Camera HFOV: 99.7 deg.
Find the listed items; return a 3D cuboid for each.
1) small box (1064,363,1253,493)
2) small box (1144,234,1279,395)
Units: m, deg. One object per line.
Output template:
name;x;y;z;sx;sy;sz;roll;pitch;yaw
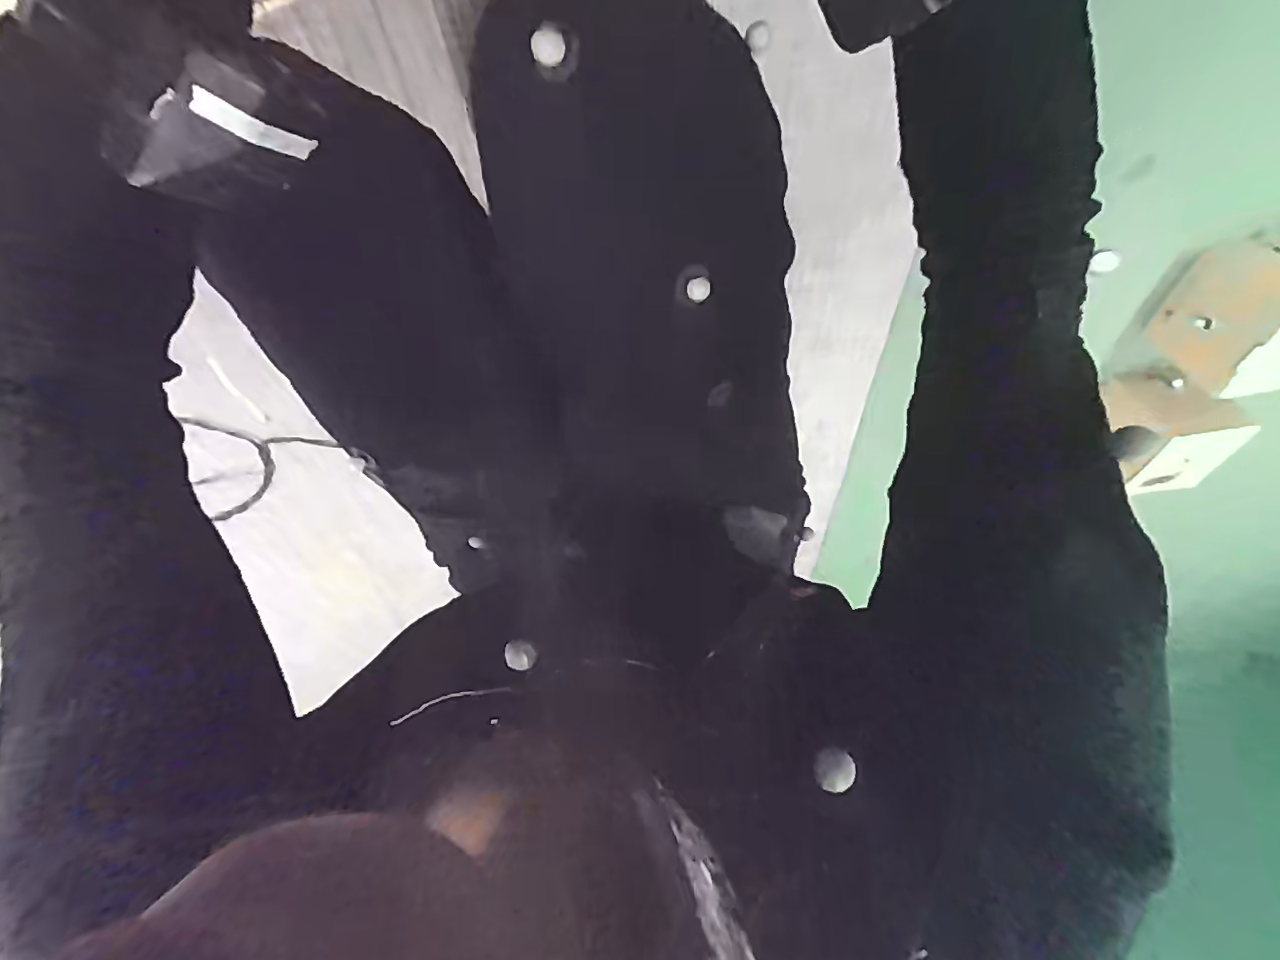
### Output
small box;0.981;-0.100;1.050;0.168;0.176;0.179;-8;142;-2
small box;0.958;-0.260;0.837;0.179;0.176;0.168;-9;143;1
